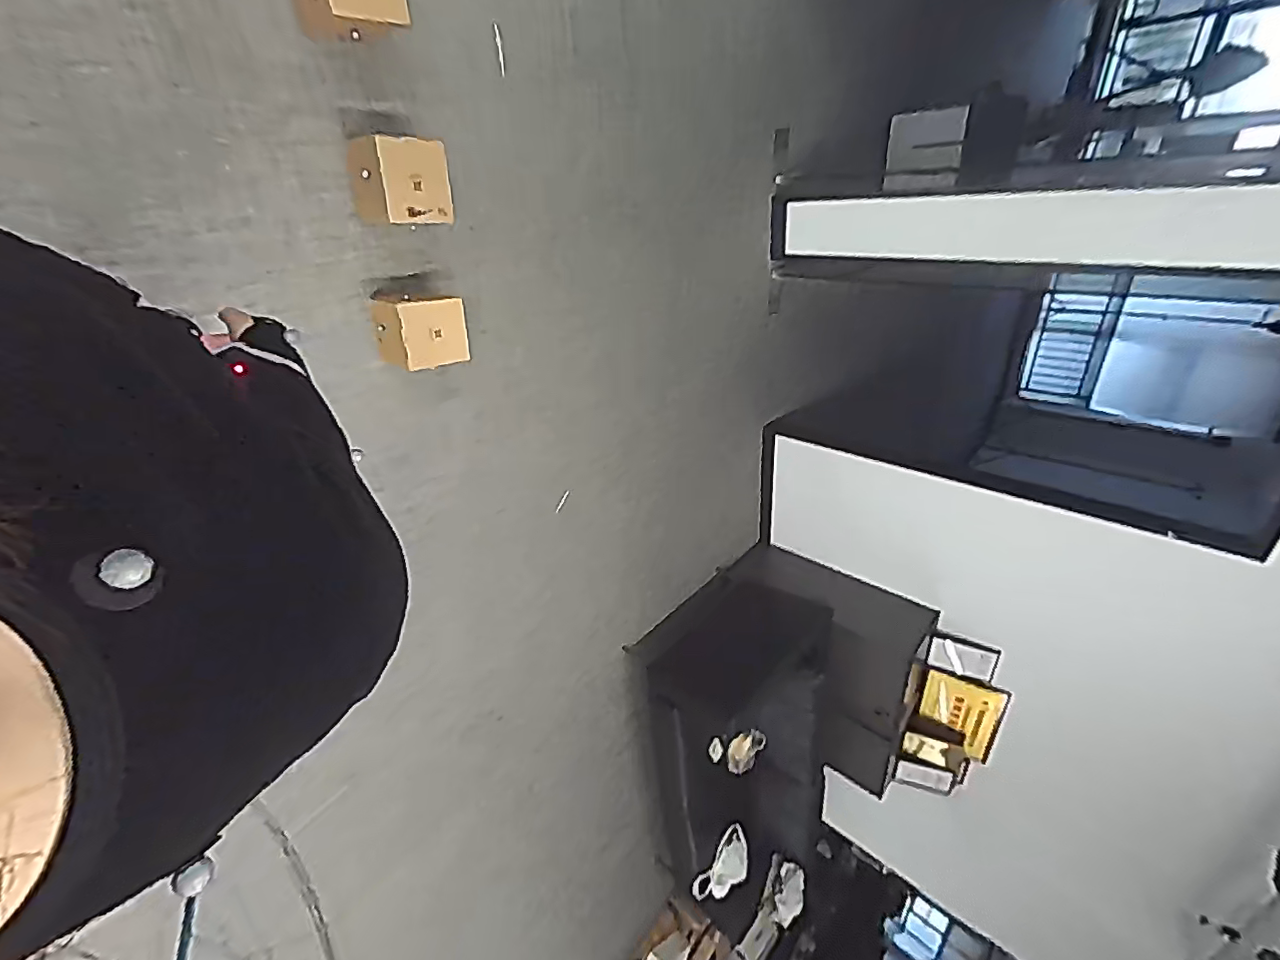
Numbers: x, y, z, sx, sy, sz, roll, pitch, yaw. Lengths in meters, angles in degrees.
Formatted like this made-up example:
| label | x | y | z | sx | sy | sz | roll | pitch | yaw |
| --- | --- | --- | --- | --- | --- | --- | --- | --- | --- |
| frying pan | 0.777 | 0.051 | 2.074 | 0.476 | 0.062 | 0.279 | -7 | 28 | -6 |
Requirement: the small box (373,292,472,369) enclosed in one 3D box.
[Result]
| label | x | y | z | sx | sy | sz | roll | pitch | yaw |
| --- | --- | --- | --- | --- | --- | --- | --- | --- | --- |
| small box | -0.578 | -0.405 | 1.443 | 0.179 | 0.176 | 0.168 | -25 | 125 | -40 |

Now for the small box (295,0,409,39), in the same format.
| label | x | y | z | sx | sy | sz | roll | pitch | yaw |
| --- | --- | --- | --- | --- | --- | --- | --- | --- | --- |
| small box | -0.610 | -1.037 | 1.112 | 0.168 | 0.176 | 0.179 | -31 | 128 | -38 |

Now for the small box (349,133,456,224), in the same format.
| label | x | y | z | sx | sy | sz | roll | pitch | yaw |
| --- | --- | --- | --- | --- | --- | --- | --- | --- | --- |
| small box | -0.573 | -0.717 | 1.302 | 0.168 | 0.176 | 0.179 | -25 | 124 | -41 |
